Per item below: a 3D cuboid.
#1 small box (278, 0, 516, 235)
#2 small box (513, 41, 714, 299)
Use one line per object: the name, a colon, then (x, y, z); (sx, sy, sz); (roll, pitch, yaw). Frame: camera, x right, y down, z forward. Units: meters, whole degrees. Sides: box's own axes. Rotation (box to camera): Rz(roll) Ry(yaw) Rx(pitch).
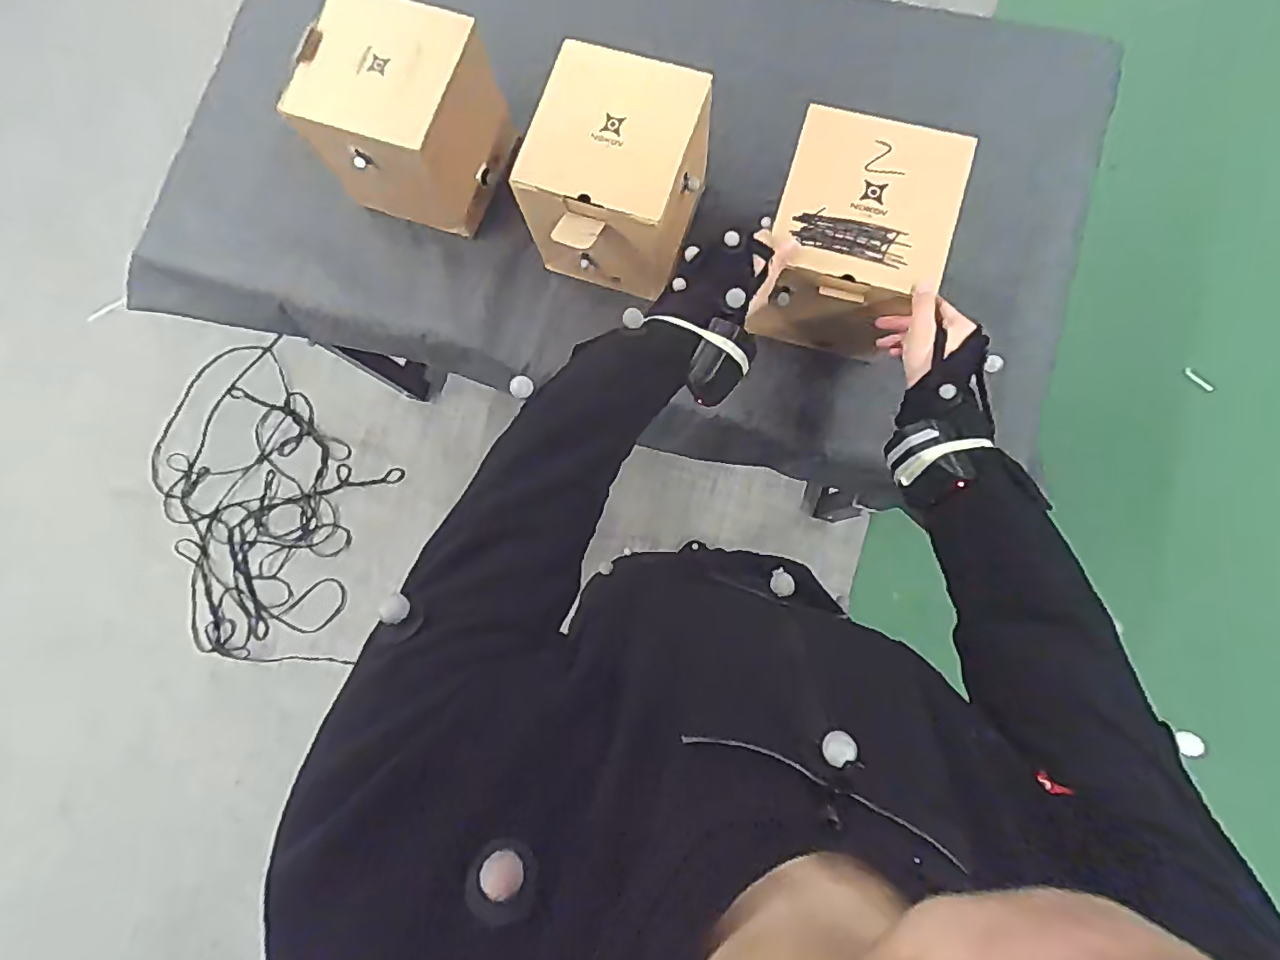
small box: (-0.278, -0.433, 0.661); (0.179, 0.176, 0.168); (20, 84, 5)
small box: (-0.024, -0.346, 0.633); (0.168, 0.176, 0.179); (18, 84, 6)
